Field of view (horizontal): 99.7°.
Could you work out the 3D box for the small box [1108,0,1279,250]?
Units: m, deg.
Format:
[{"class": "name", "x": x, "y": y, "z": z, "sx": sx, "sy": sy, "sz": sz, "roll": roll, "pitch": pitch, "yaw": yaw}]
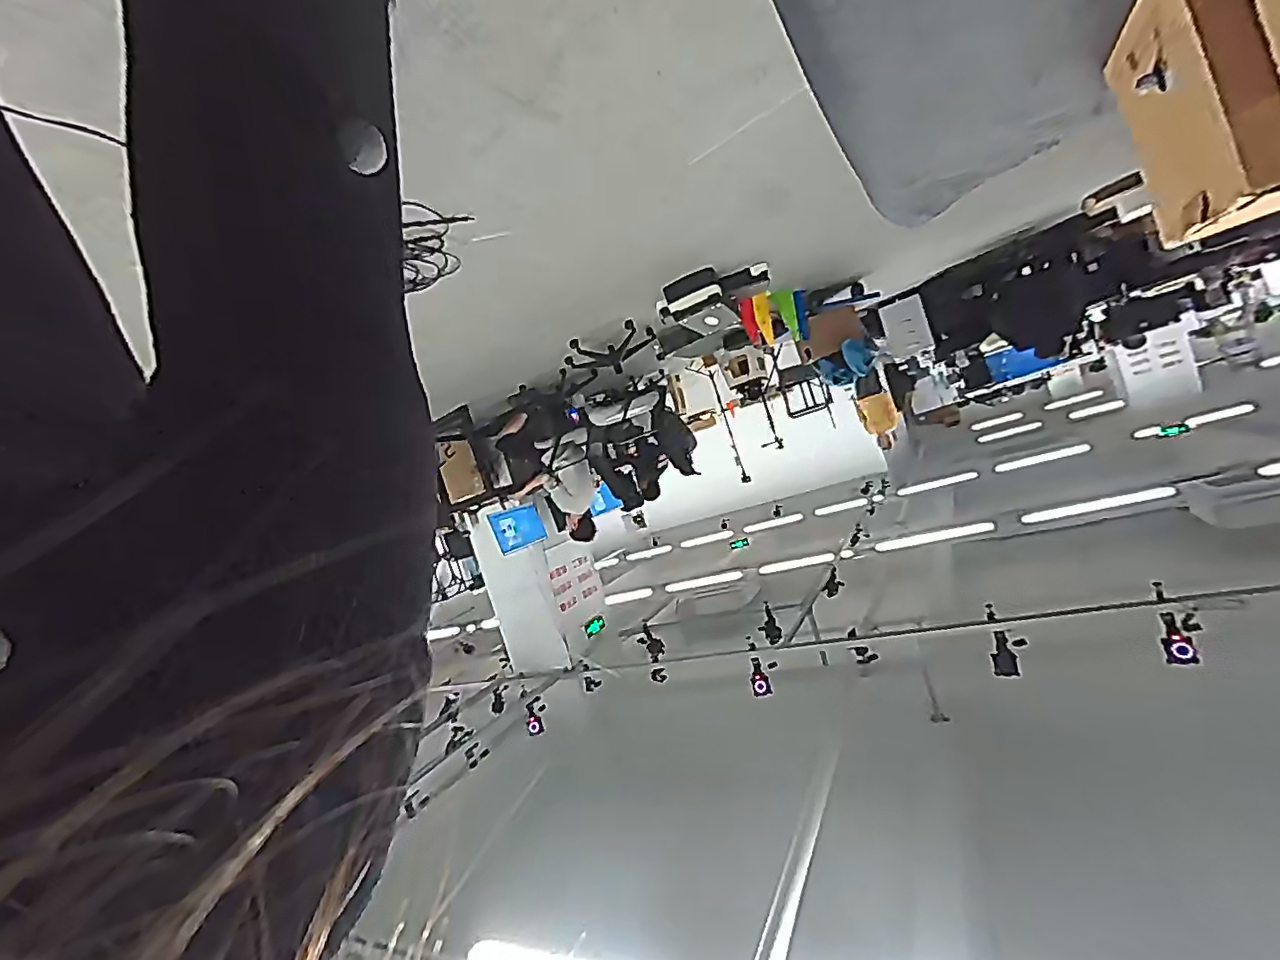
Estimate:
[{"class": "small box", "x": 0.449, "y": -0.281, "z": 0.348, "sx": 0.179, "sy": 0.176, "sz": 0.168, "roll": -16, "pitch": -178, "yaw": 33}]
